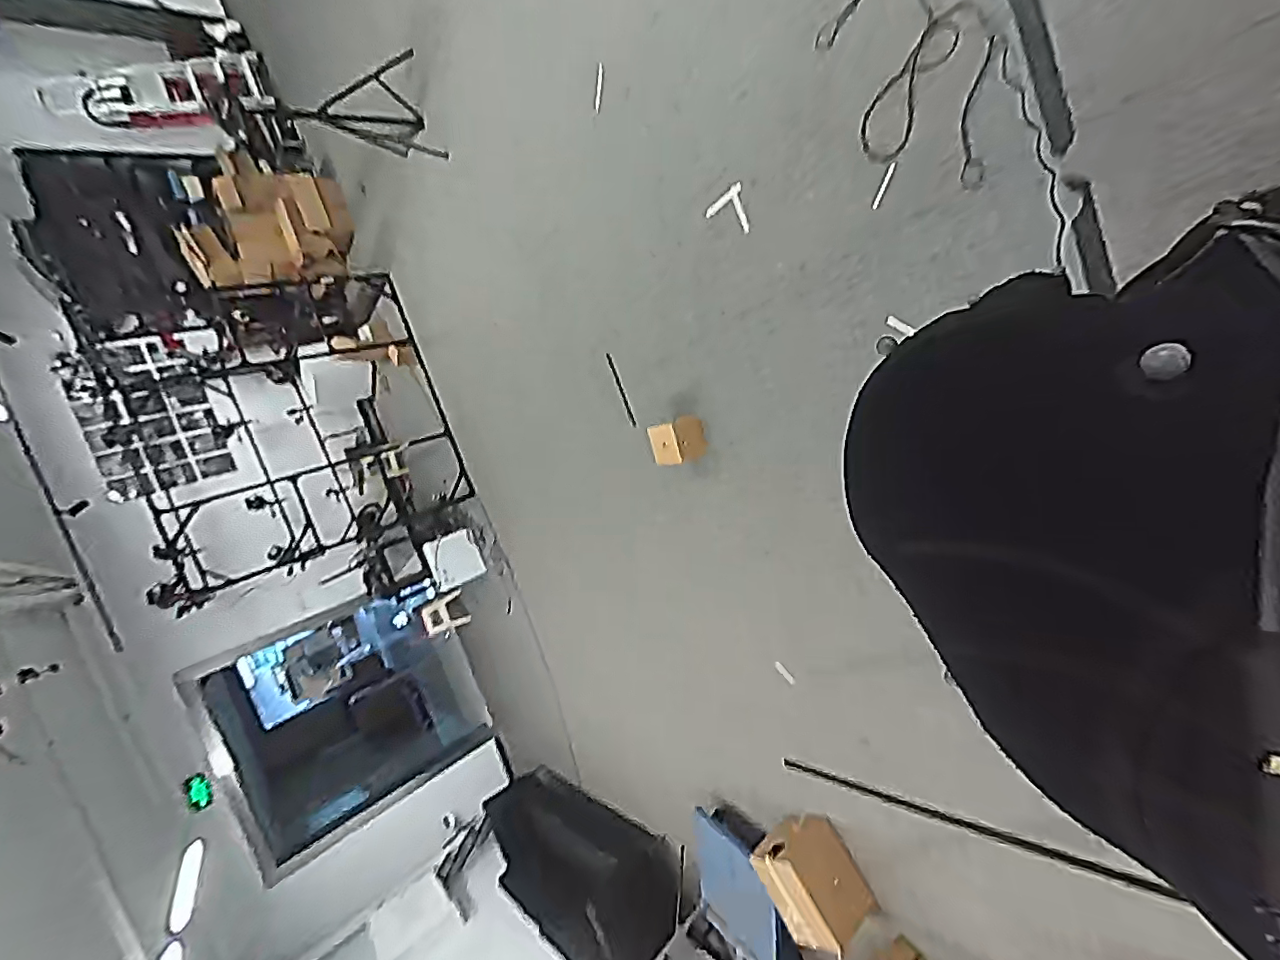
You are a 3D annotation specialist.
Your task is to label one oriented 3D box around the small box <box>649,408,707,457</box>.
[{"bbox_3d":[0.169,-0.211,2.373,0.168,0.176,0.179,-2,109,52],"label":"small box"}]
